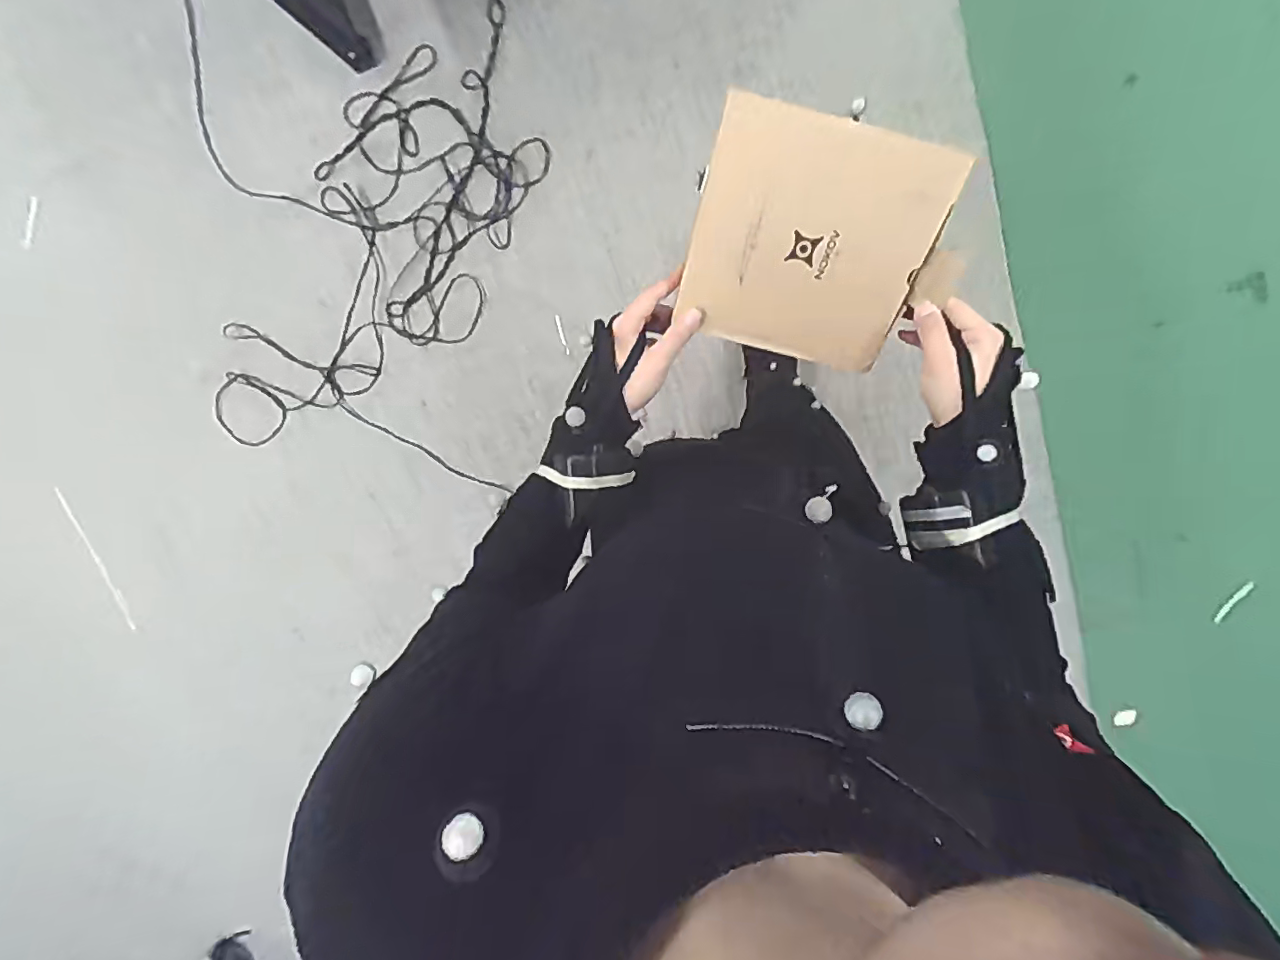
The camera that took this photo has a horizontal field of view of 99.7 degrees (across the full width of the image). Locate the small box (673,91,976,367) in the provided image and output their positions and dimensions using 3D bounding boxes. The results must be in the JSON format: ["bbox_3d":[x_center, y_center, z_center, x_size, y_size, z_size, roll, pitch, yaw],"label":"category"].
[{"bbox_3d":[0.135,-0.220,0.468,0.179,0.176,0.168,12,125,0],"label":"small box"}]
